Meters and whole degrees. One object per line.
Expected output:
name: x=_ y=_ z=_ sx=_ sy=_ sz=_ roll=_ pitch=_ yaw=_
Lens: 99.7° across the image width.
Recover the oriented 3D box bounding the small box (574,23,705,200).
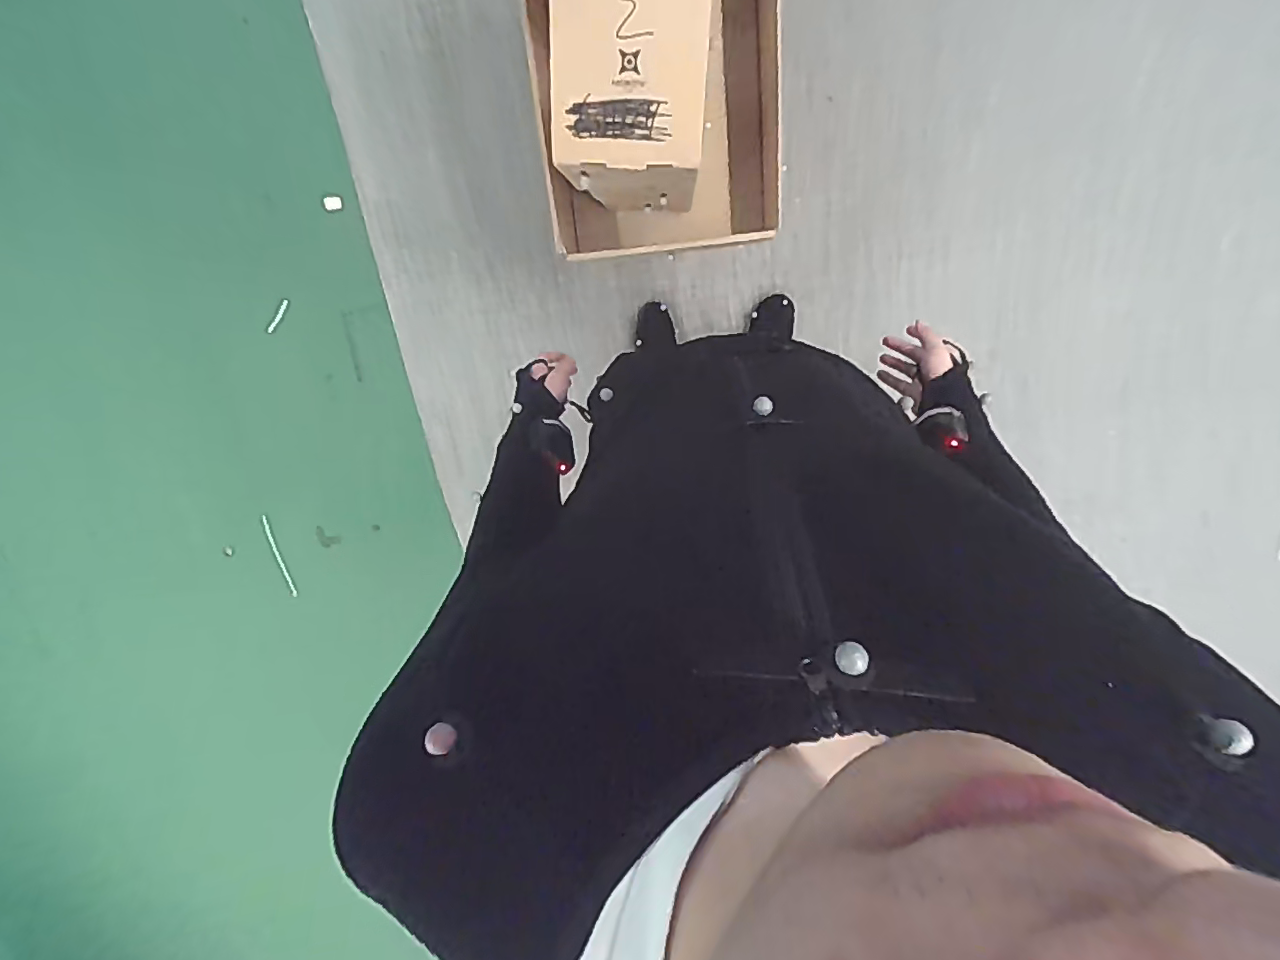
small box: x=0.001 y=-0.521 z=0.791 sx=0.168 sy=0.176 sz=0.179 roll=5 pitch=109 yaw=1
